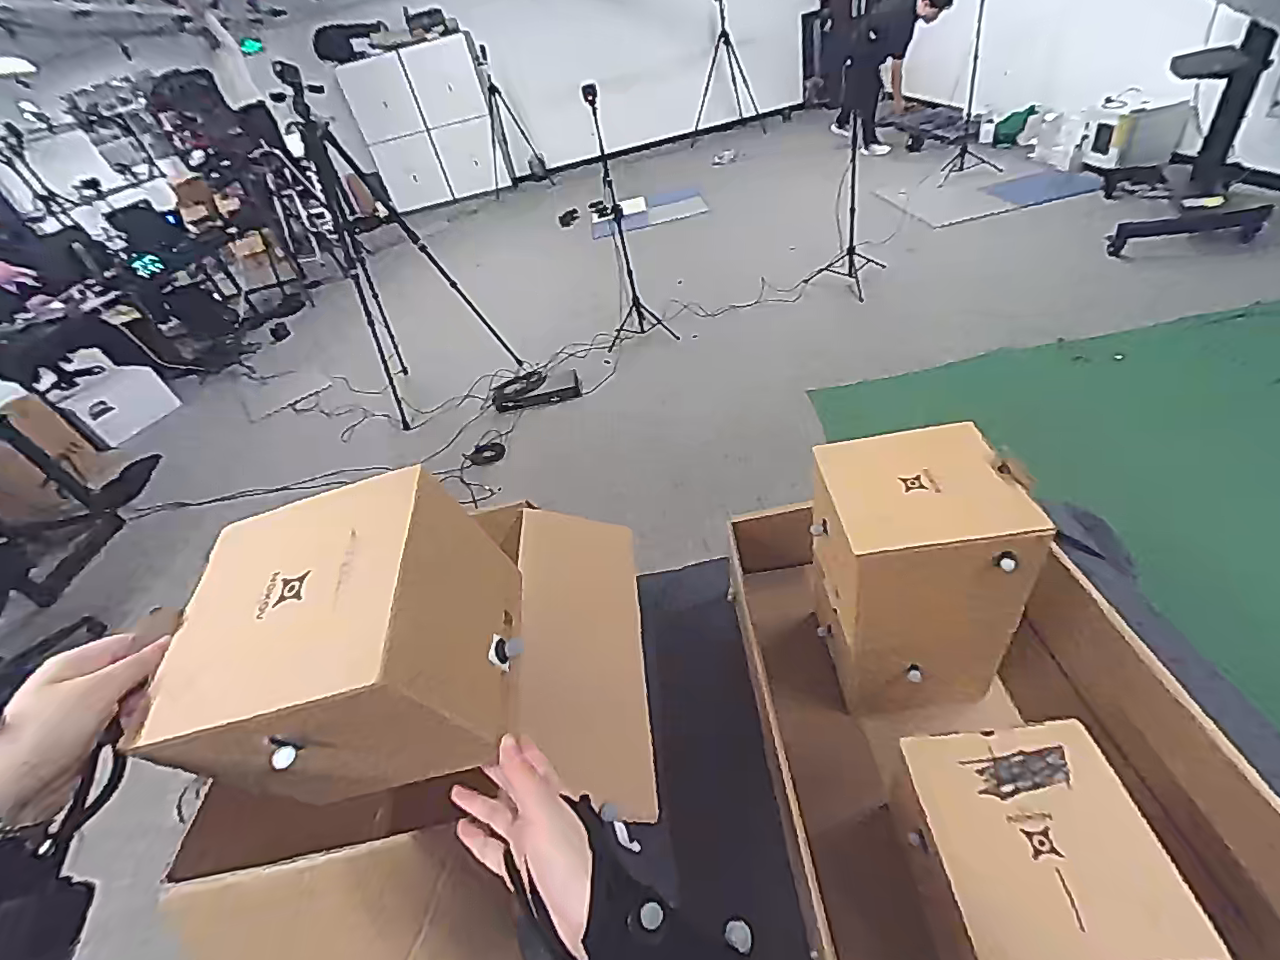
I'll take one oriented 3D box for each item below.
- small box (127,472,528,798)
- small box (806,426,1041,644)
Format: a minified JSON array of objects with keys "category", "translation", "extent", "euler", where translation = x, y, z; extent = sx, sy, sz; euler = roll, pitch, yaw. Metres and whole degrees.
[{"category":"small box","translation":[-0.203,0.126,0.412],"extent":[0.179,0.176,0.168],"euler":[-16,50,7]},{"category":"small box","translation":[0.293,0.067,0.605],"extent":[0.179,0.176,0.168],"euler":[-9,42,7]}]
